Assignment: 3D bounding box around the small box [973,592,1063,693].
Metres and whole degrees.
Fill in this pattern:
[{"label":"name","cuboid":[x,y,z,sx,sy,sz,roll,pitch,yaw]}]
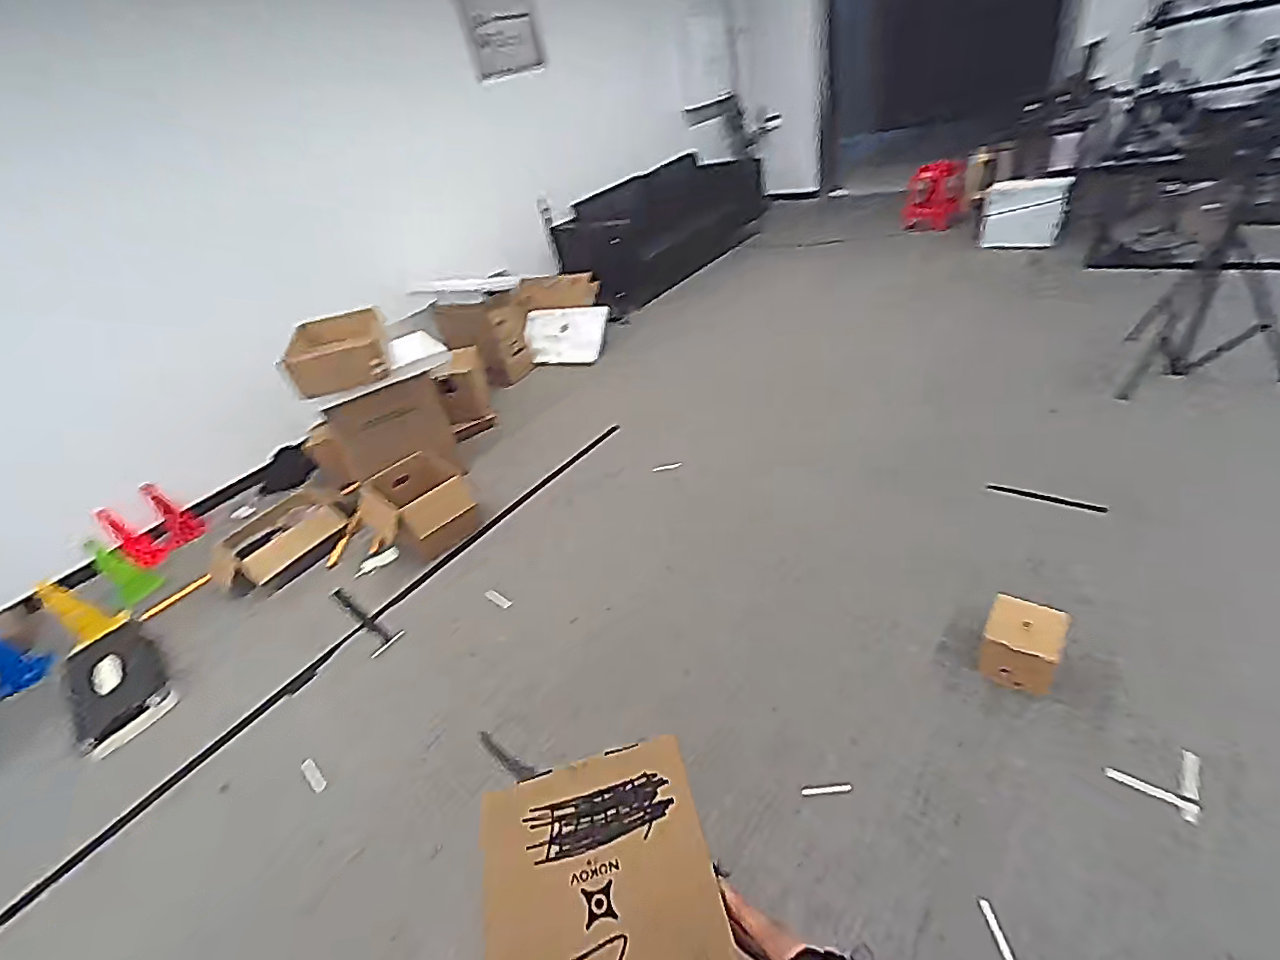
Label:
[{"label":"small box","cuboid":[1.048,0.451,1.506,0.168,0.176,0.179,16,46,36]}]
